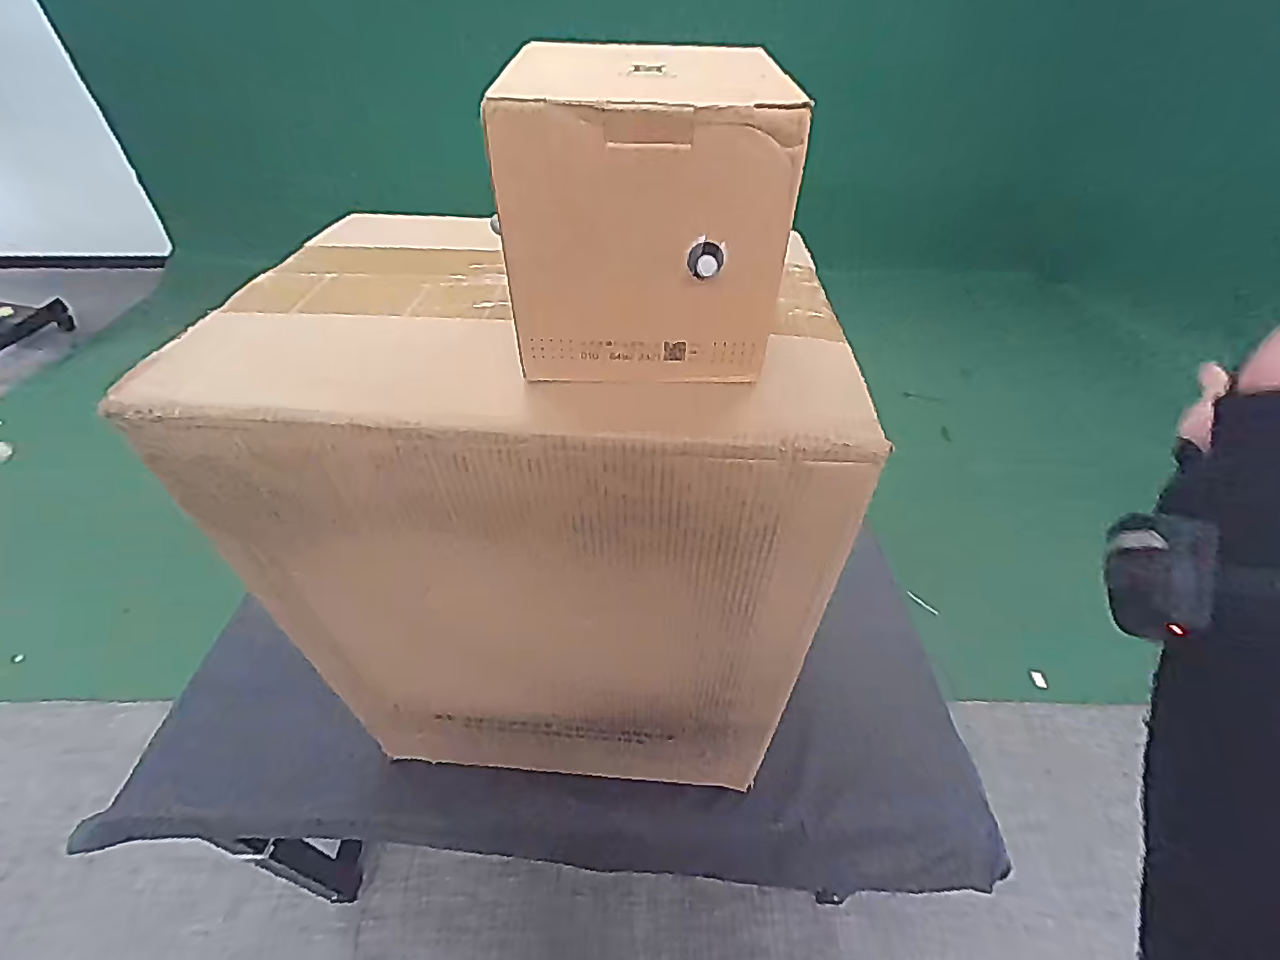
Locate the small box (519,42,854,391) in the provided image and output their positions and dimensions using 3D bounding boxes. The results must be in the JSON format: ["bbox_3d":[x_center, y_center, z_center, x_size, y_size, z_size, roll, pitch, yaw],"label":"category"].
[{"bbox_3d":[0.019,-0.177,0.372,0.168,0.176,0.179,2,46,-3],"label":"small box"}]
